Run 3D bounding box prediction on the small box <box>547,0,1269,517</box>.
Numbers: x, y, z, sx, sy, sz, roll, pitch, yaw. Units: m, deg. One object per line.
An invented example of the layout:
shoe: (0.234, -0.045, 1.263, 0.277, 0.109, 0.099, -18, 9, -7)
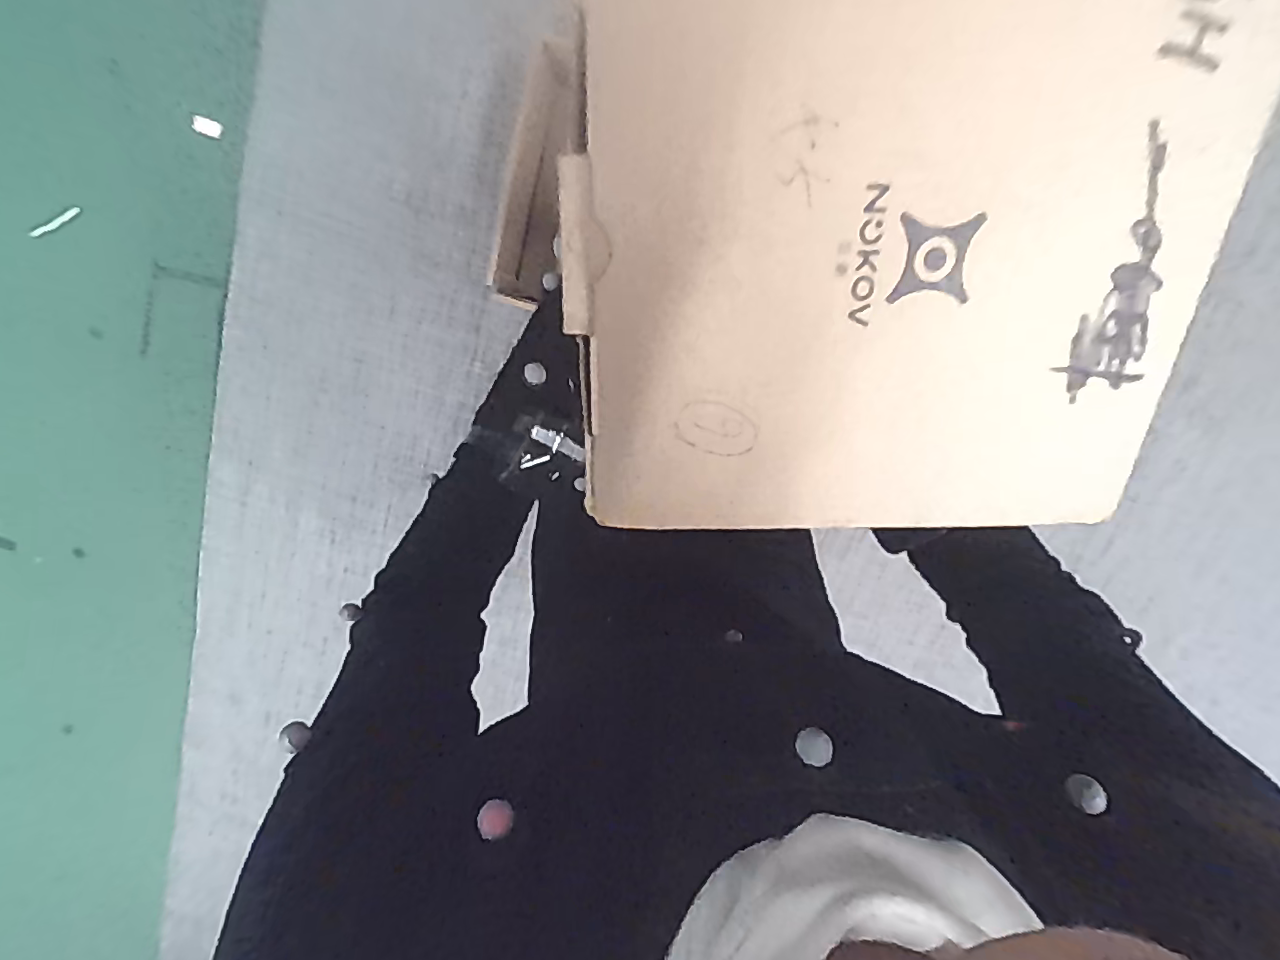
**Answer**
small box: (0.065, -0.095, 0.222, 0.179, 0.176, 0.168, -3, 111, -2)
